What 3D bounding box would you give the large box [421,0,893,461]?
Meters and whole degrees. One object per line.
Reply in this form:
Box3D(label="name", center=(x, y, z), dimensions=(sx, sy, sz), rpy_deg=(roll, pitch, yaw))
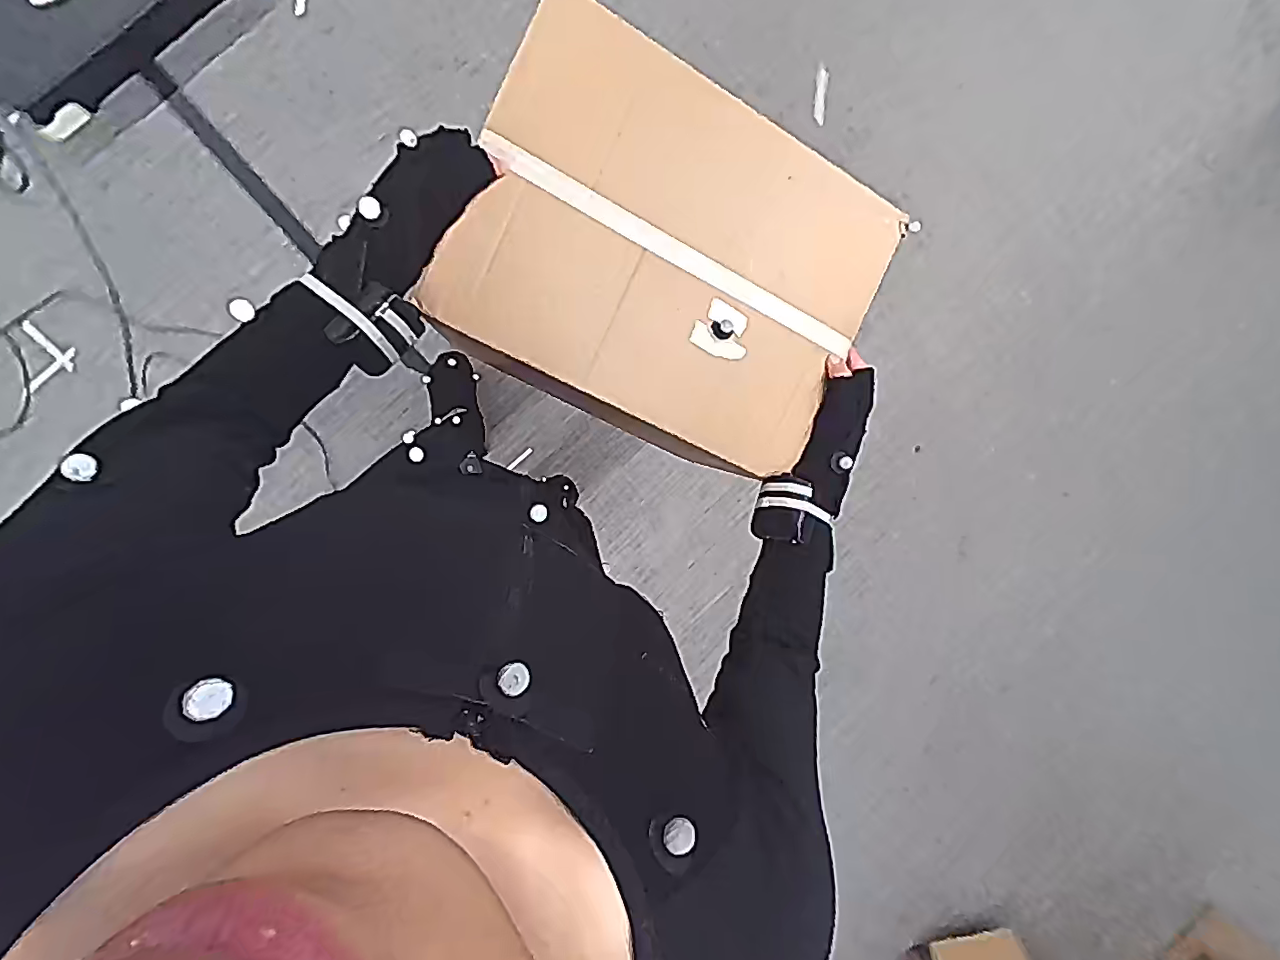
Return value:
Box3D(label="large box", center=(0.002, -0.246, 0.672), dimensions=(0.408, 0.320, 0.320), rpy_deg=(23, 92, -14))
